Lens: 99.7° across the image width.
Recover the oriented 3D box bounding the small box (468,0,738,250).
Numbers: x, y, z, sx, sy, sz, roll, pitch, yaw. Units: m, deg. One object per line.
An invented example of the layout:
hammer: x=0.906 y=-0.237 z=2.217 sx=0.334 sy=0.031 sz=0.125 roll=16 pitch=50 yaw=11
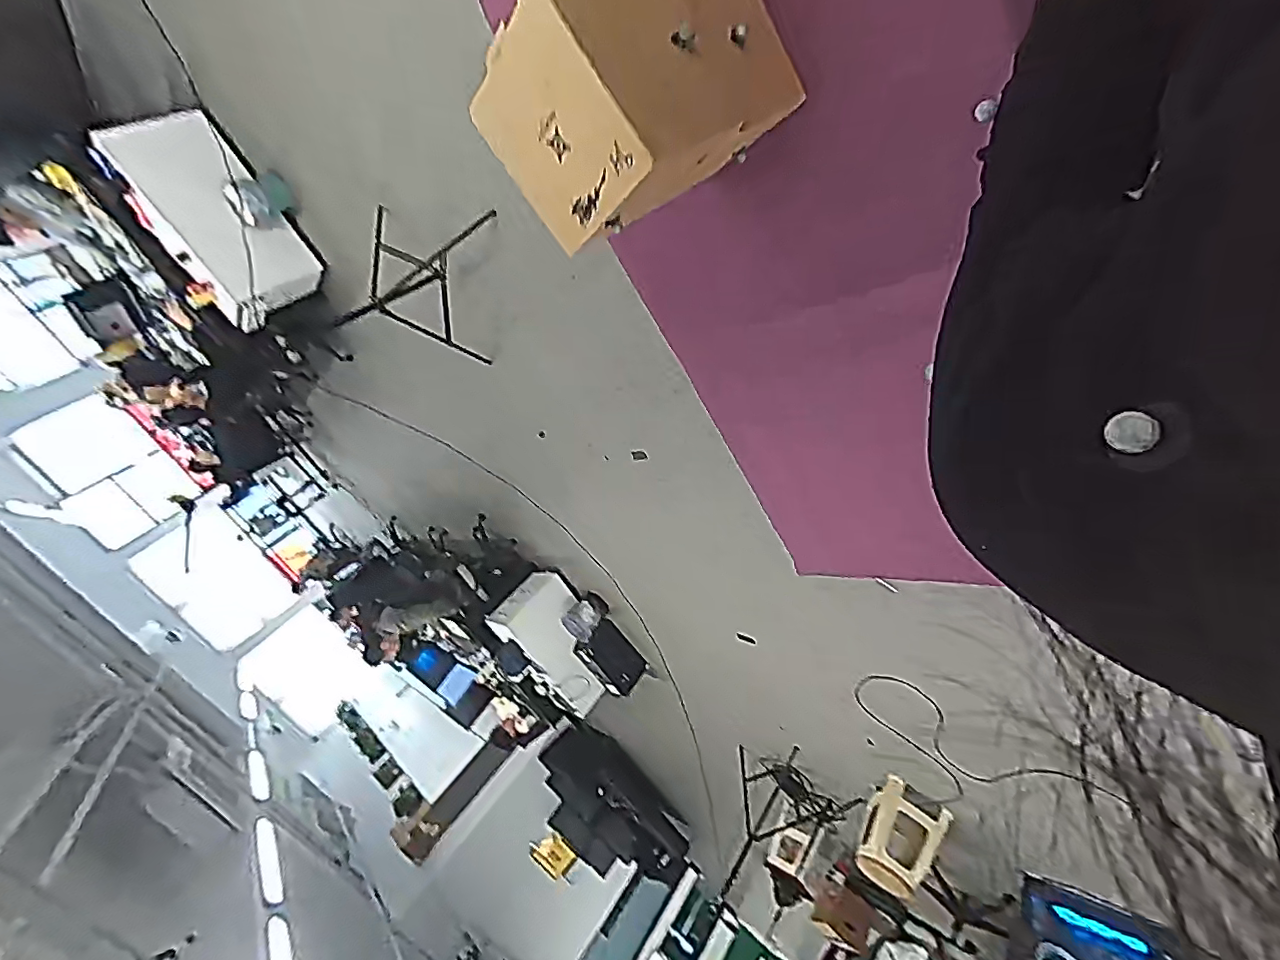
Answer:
small box: x=-0.035 y=-0.378 z=0.553 sx=0.179 sy=0.176 sz=0.168 roll=54 pitch=147 yaw=-14
